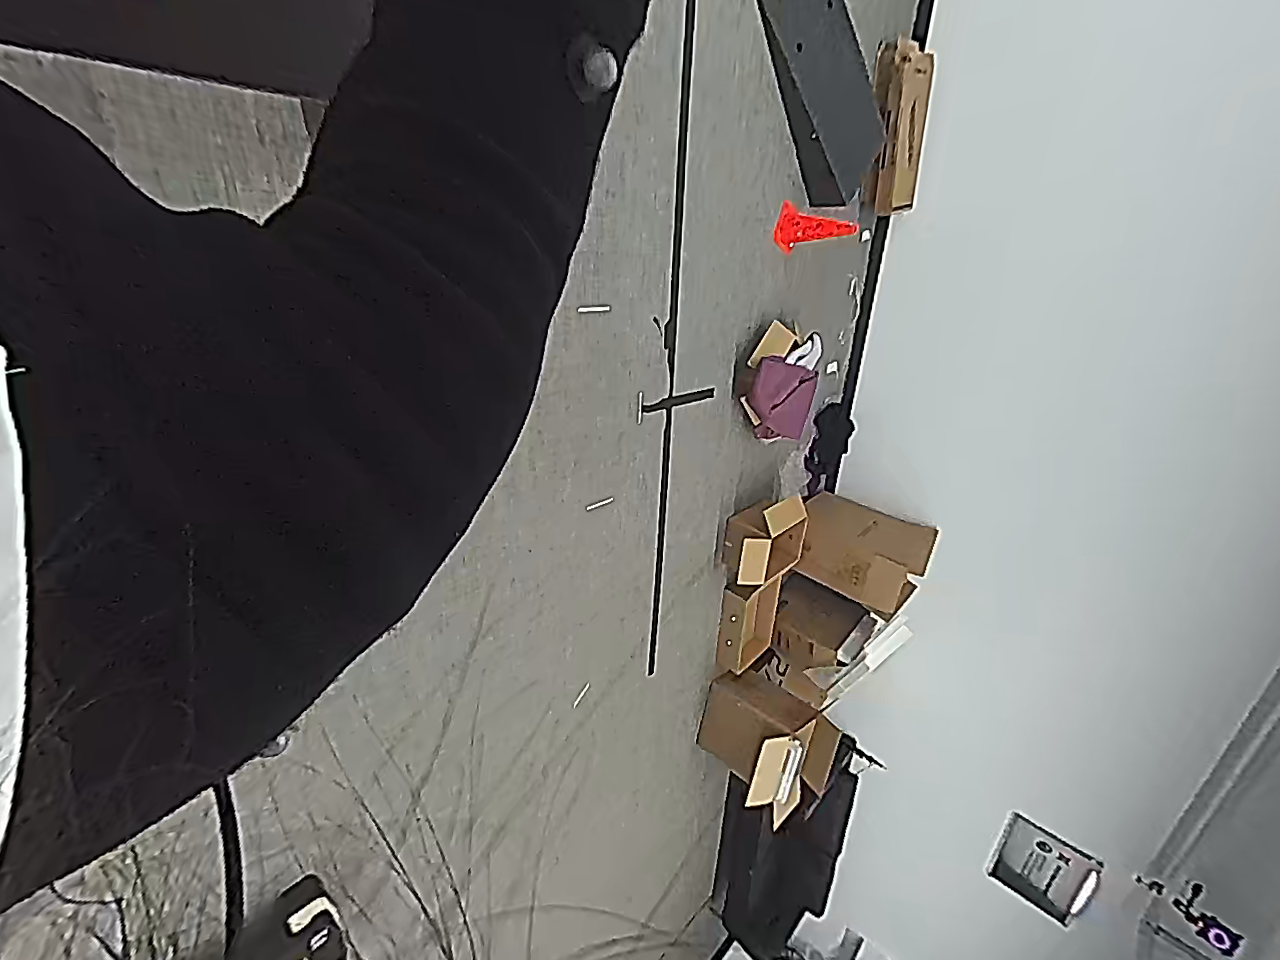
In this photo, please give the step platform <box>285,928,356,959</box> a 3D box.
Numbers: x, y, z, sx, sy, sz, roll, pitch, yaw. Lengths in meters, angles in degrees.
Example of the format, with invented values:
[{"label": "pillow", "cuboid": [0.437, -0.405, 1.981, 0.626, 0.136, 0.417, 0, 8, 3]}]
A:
[{"label": "step platform", "cuboid": [-1.111, 1.603, 1.453, 0.684, 0.204, 0.286, -23, 125, -41]}]
